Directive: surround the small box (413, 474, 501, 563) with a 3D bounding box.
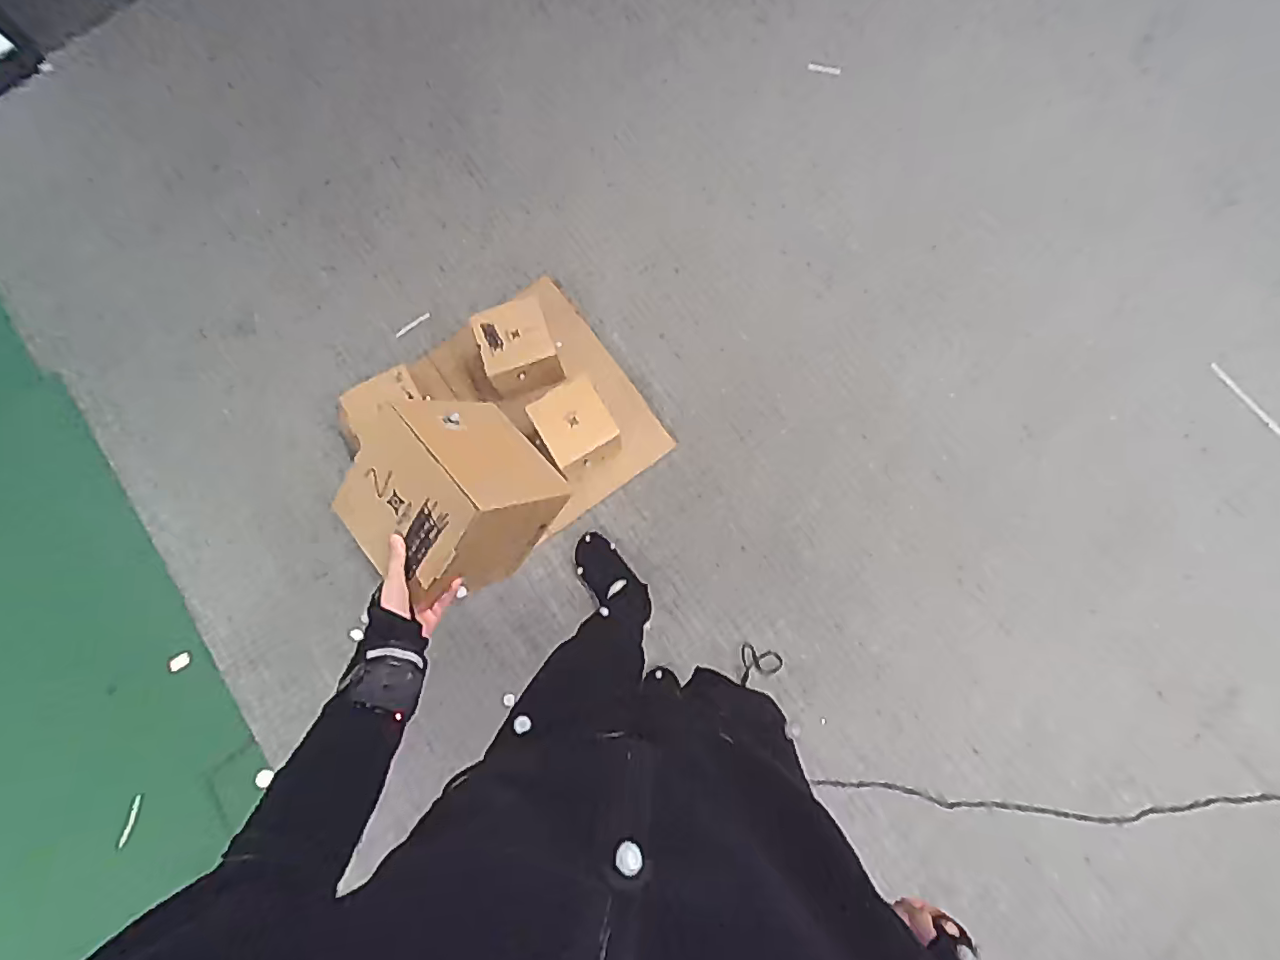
[{"bbox_3d":[-0.458,0.086,1.299,0.168,0.176,0.179,-30,80,-5],"label":"small box"}]

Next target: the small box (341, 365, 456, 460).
[{"bbox_3d":[-0.592,-0.151,1.345,0.179,0.176,0.168,-28,80,-3],"label":"small box"}]

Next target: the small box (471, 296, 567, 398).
[{"bbox_3d":[-0.299,-0.327,1.365,0.179,0.176,0.168,-19,80,-4],"label":"small box"}]

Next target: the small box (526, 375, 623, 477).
[{"bbox_3d":[-0.151,-0.121,1.327,0.168,0.176,0.179,-31,80,-4],"label":"small box"}]

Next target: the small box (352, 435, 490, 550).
[{"bbox_3d":[-0.451,0.036,1.141,0.179,0.176,0.168,42,84,8],"label":"small box"}]
